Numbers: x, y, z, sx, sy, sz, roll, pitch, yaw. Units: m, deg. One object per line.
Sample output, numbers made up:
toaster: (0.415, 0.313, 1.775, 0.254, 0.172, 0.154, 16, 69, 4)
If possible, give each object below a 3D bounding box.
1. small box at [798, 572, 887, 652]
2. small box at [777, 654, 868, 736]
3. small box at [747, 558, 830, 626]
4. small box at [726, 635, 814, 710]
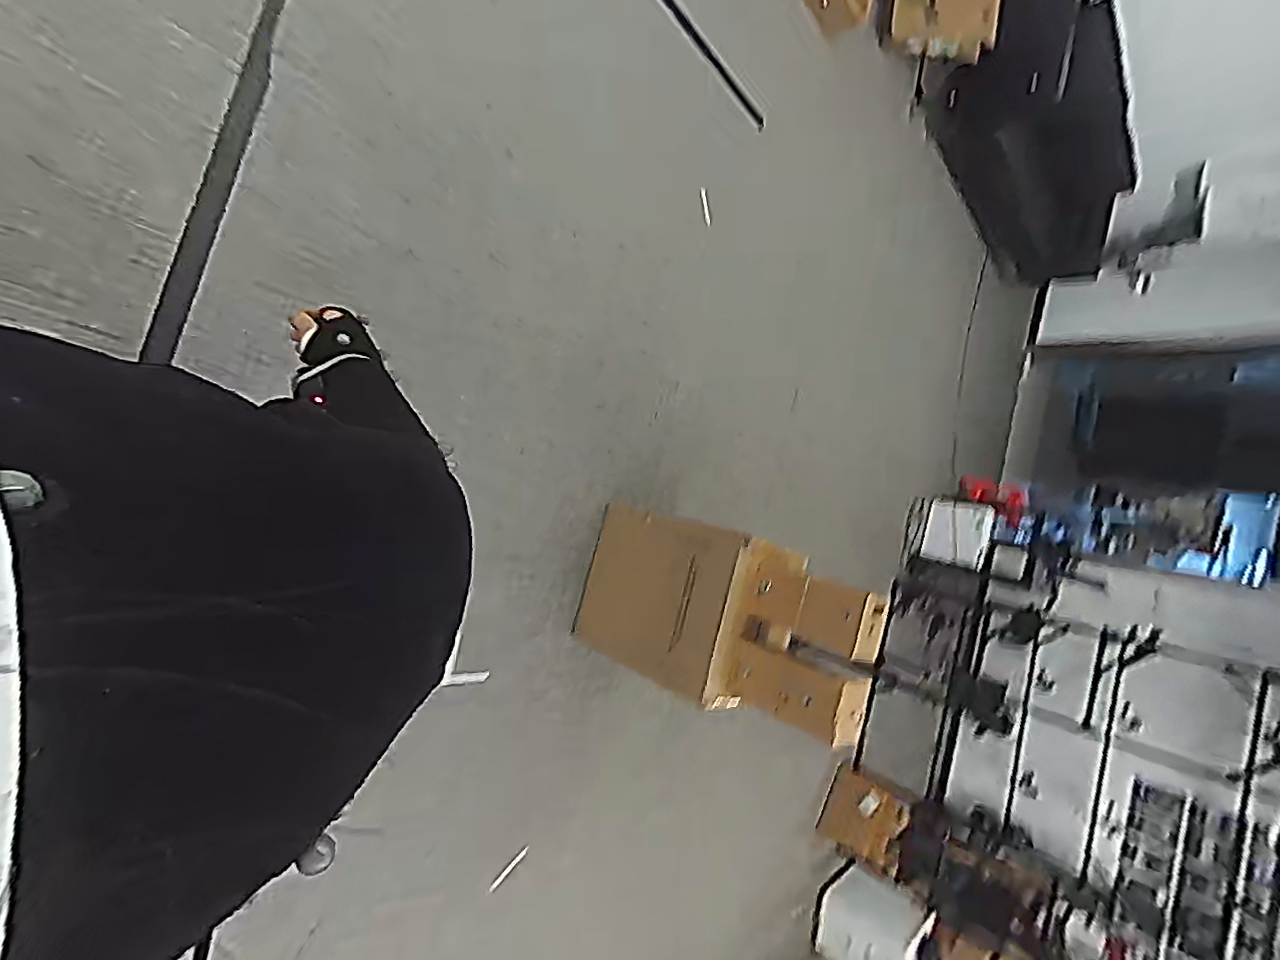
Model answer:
small box: (0.566, 0.368, 1.521, 0.168, 0.176, 0.179, 19, 84, -43)
small box: (0.500, 0.587, 1.489, 0.179, 0.176, 0.168, 21, 81, -43)
small box: (0.452, 0.339, 1.636, 0.179, 0.176, 0.168, 18, 83, -43)
small box: (0.385, 0.567, 1.604, 0.179, 0.176, 0.168, 19, 82, -43)
